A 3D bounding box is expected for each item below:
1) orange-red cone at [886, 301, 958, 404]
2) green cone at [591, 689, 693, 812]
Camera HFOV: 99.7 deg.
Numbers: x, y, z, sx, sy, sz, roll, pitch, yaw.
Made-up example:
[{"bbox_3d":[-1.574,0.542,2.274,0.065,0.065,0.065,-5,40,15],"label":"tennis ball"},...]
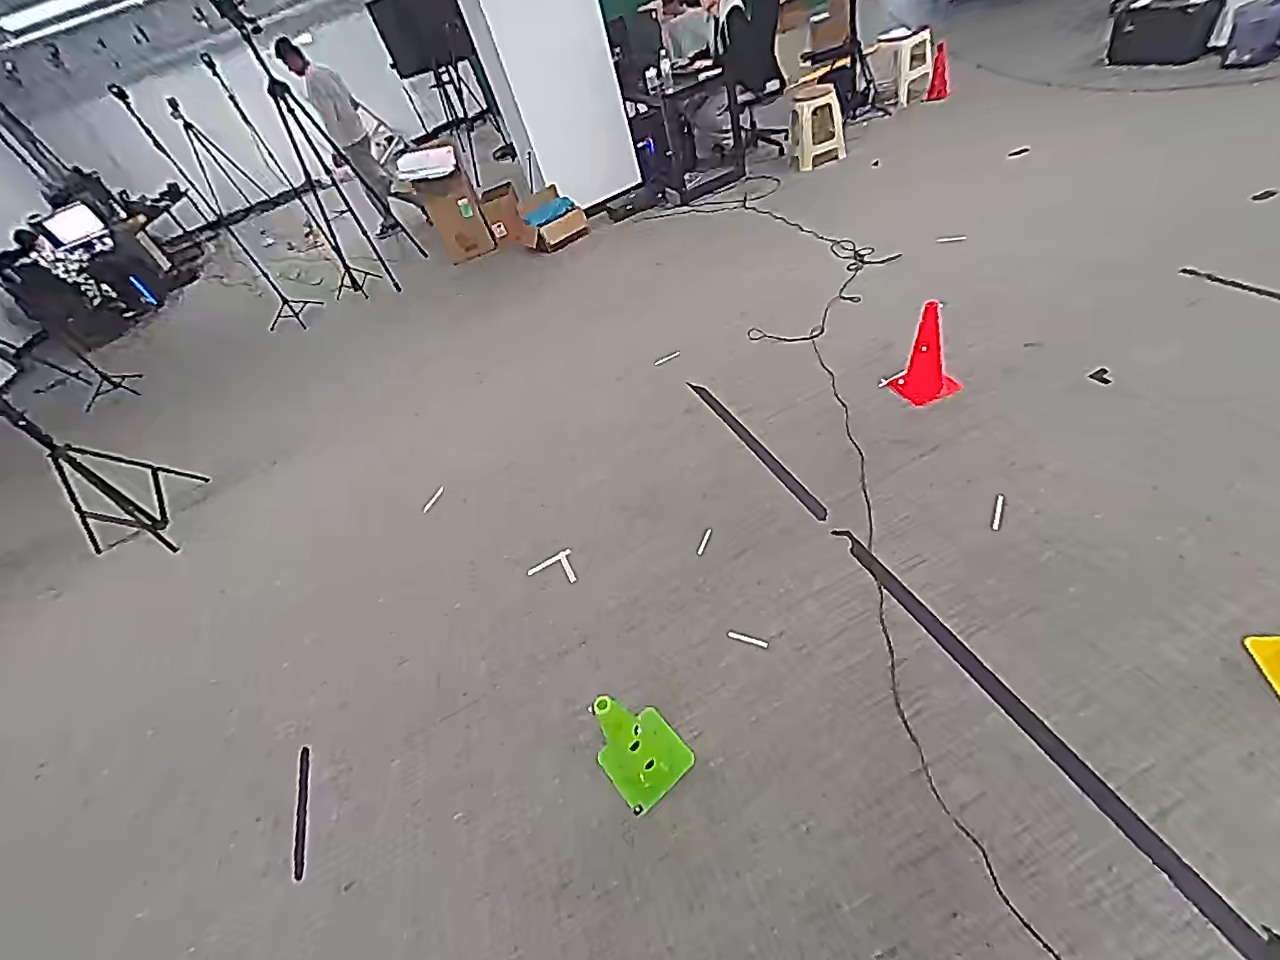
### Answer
[{"bbox_3d":[1.050,-0.492,1.993,0.198,0.360,0.199,-23,43,0],"label":"orange-red cone"},{"bbox_3d":[-0.034,0.606,1.307,0.200,0.368,0.202,-38,43,-18],"label":"green cone"}]
